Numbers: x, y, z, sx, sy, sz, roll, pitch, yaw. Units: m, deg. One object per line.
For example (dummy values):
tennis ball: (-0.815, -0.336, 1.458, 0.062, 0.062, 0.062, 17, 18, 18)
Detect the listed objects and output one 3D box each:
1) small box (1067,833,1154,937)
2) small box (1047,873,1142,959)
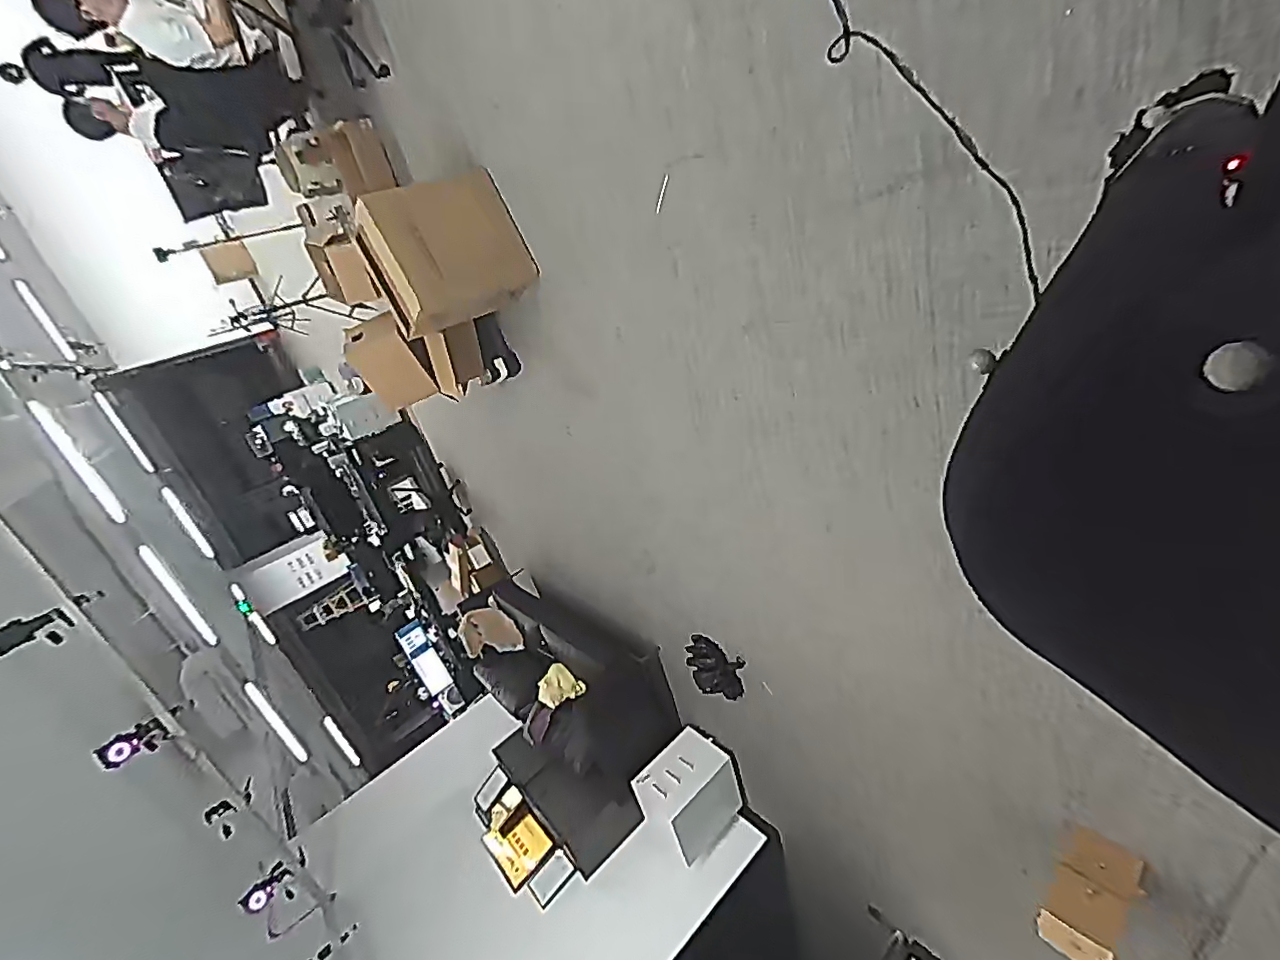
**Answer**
small box: (1.479, 1.264, 1.705, 0.179, 0.176, 0.168, 12, 127, 49)
small box: (1.357, 1.328, 1.619, 0.179, 0.176, 0.168, 16, 130, 50)
